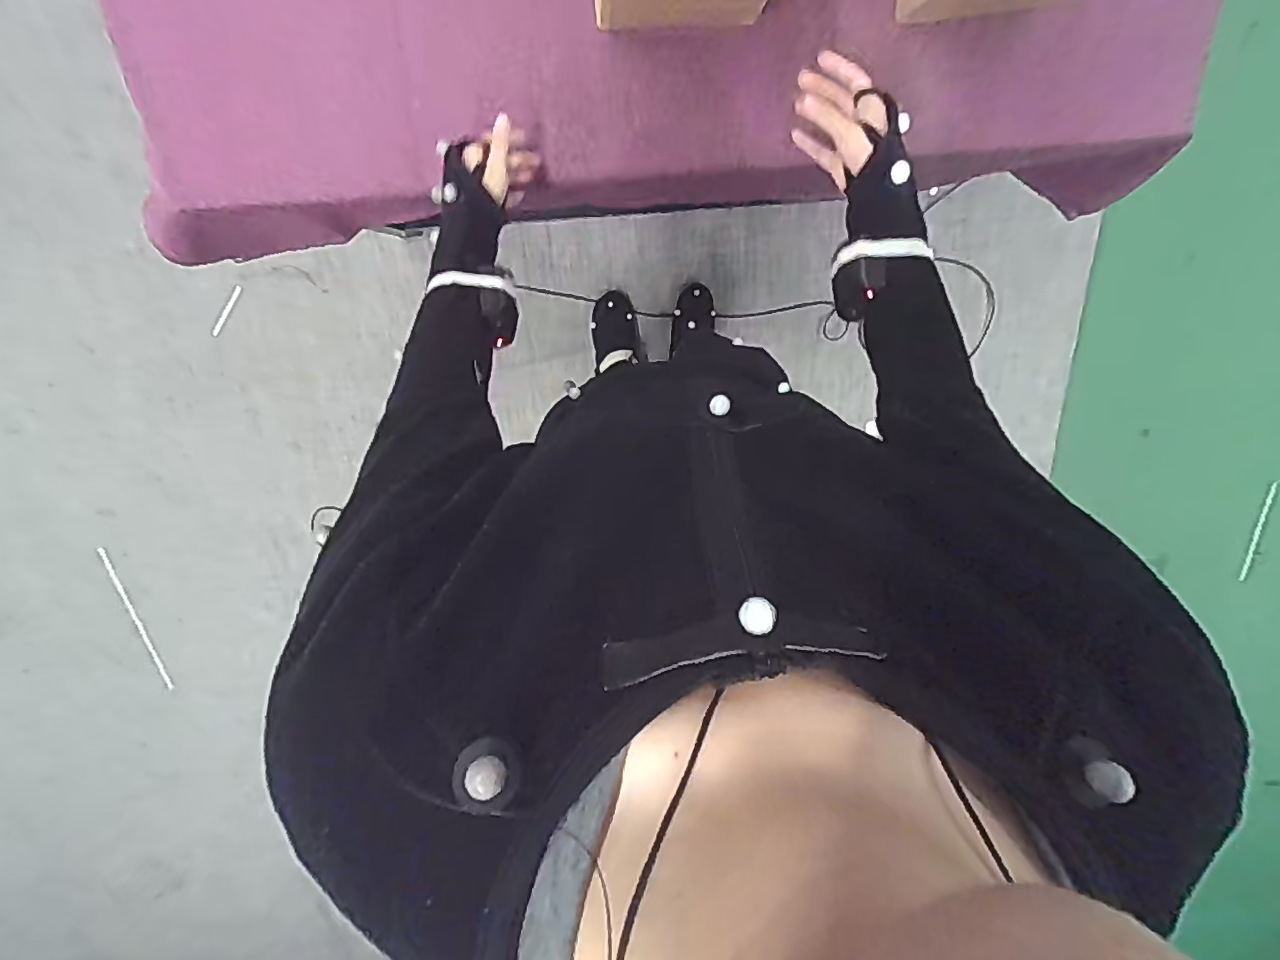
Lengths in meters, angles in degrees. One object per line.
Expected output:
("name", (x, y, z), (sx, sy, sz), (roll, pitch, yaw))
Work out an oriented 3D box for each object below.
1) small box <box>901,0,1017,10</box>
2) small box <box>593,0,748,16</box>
("small box", (0.362, -0.572, 0.496), (0.179, 0.176, 0.168), (-8, 111, -1))
("small box", (0.037, -0.548, 0.478), (0.179, 0.176, 0.168), (-5, 110, -4))
